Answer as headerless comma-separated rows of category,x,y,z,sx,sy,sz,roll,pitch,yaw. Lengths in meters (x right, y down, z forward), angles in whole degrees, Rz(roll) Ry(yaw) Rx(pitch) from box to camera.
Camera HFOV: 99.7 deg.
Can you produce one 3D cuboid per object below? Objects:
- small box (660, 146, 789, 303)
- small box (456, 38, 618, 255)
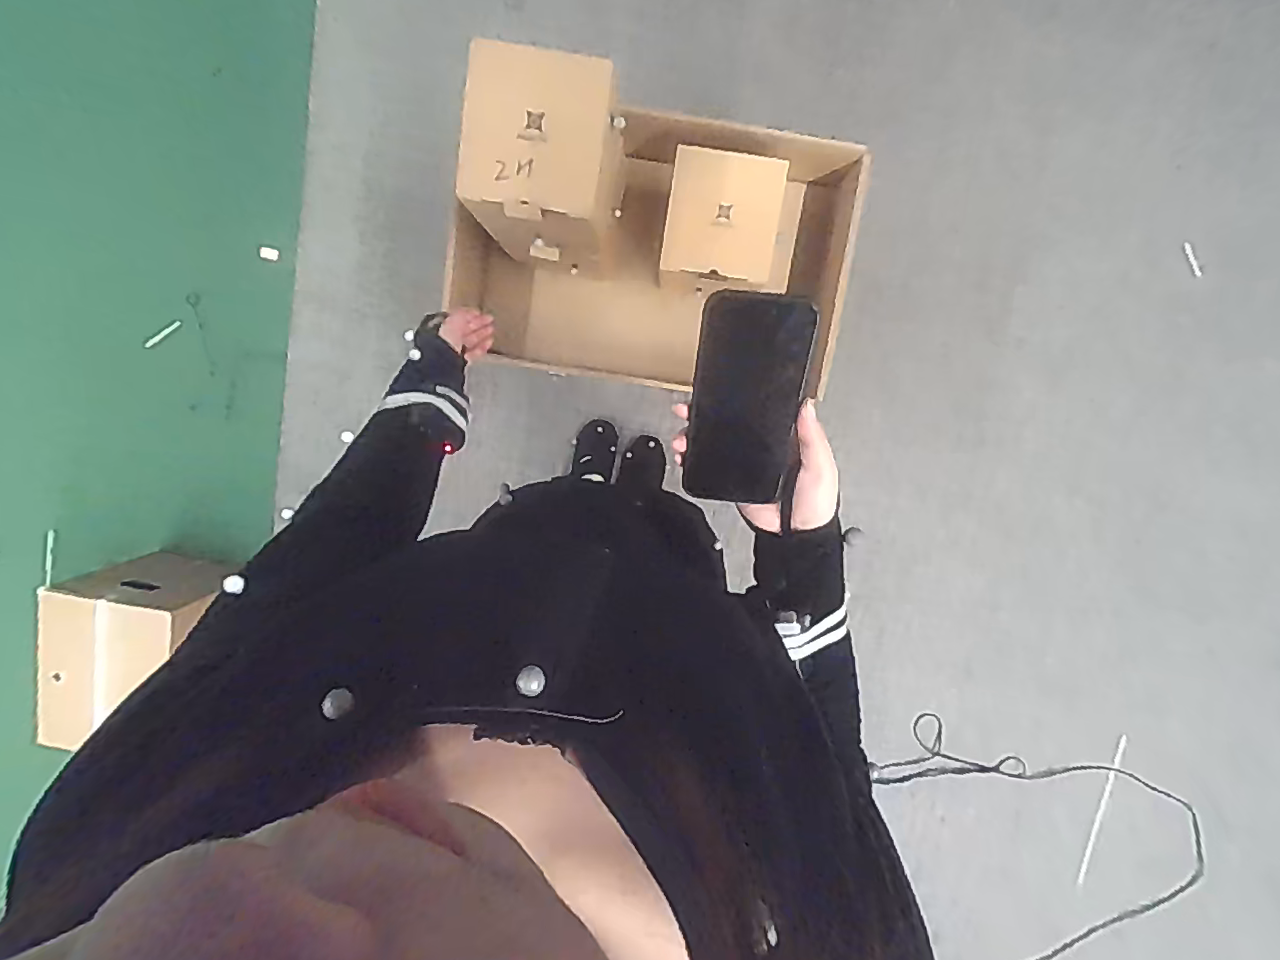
small box,0.125,-0.398,0.869,0.168,0.176,0.179,9,100,1
small box,-0.123,-0.417,0.706,0.168,0.176,0.179,10,99,0
